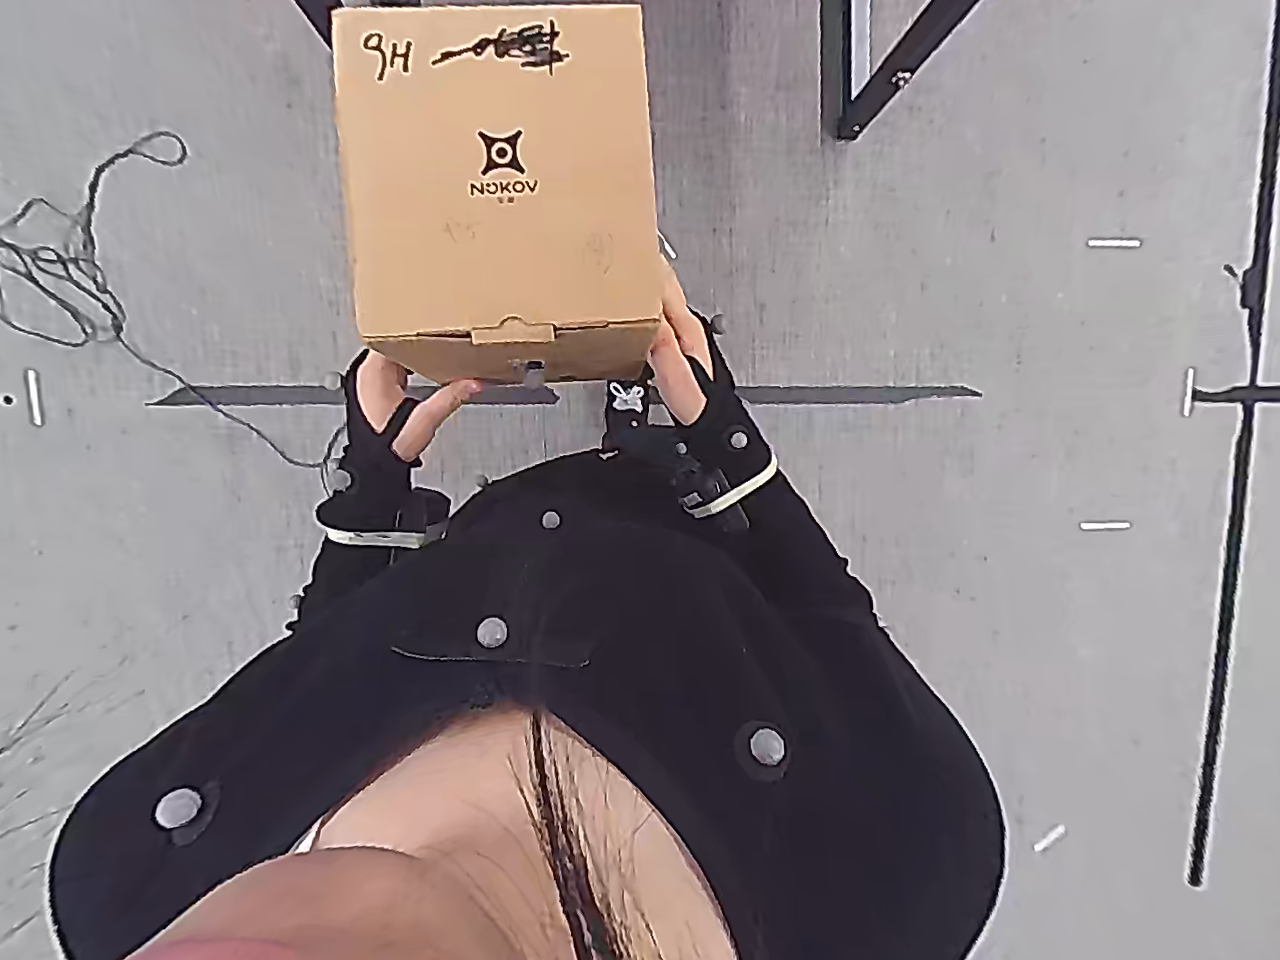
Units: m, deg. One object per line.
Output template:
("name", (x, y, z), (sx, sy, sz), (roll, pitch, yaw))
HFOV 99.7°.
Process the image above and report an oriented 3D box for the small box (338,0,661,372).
("small box", (-0.077, -0.172, 0.369), (0.168, 0.176, 0.179), (-4, 92, -4))
